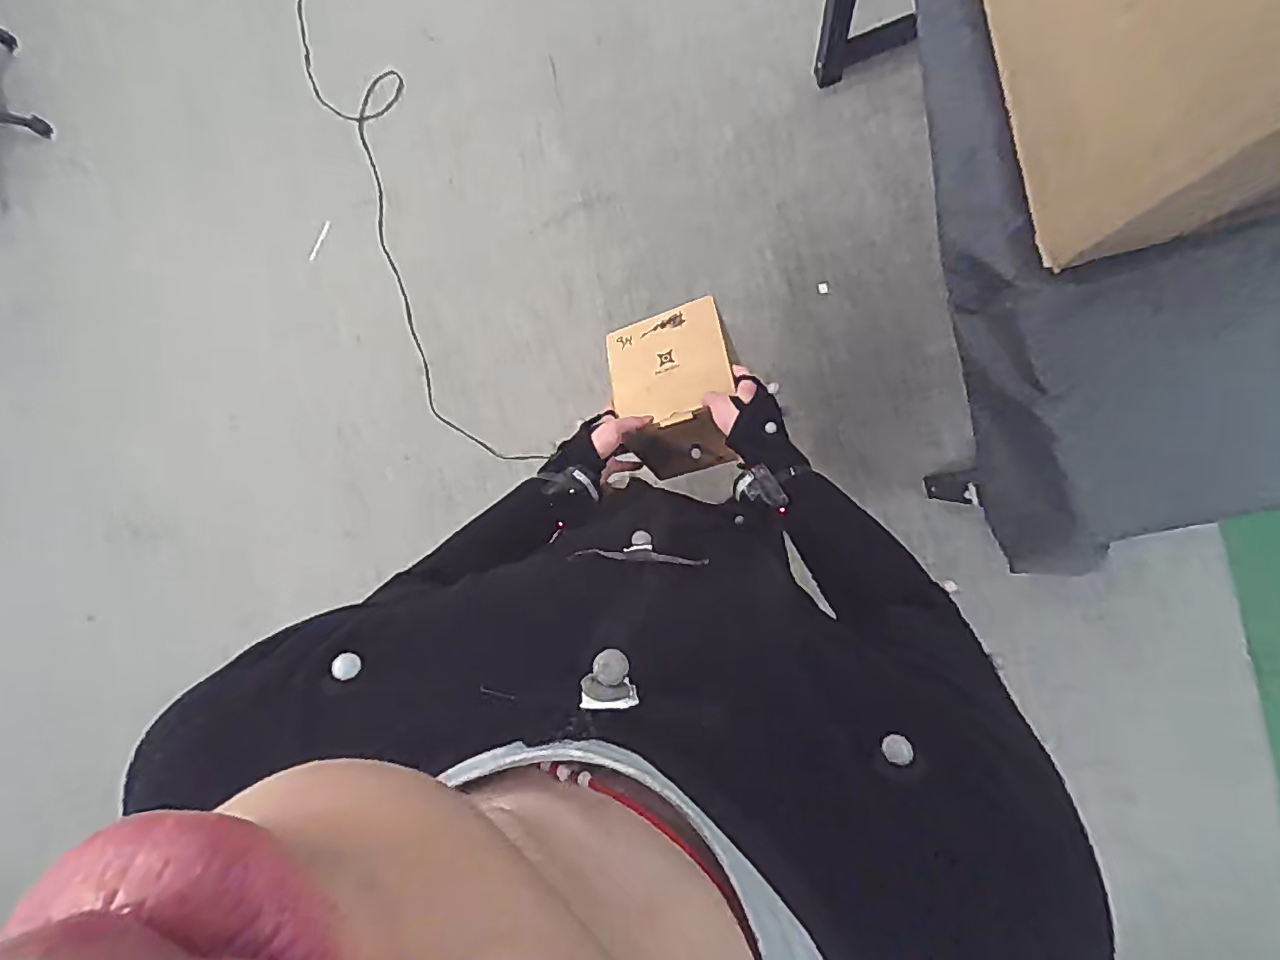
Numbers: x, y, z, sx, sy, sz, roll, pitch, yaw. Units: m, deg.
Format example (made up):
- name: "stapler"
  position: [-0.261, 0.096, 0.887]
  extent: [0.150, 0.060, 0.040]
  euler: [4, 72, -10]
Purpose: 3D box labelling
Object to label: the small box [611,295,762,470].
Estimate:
- name: "small box"
  position: [0.072, -0.128, 0.796]
  extent: [0.168, 0.176, 0.179]
  euler: [-16, 63, 17]
